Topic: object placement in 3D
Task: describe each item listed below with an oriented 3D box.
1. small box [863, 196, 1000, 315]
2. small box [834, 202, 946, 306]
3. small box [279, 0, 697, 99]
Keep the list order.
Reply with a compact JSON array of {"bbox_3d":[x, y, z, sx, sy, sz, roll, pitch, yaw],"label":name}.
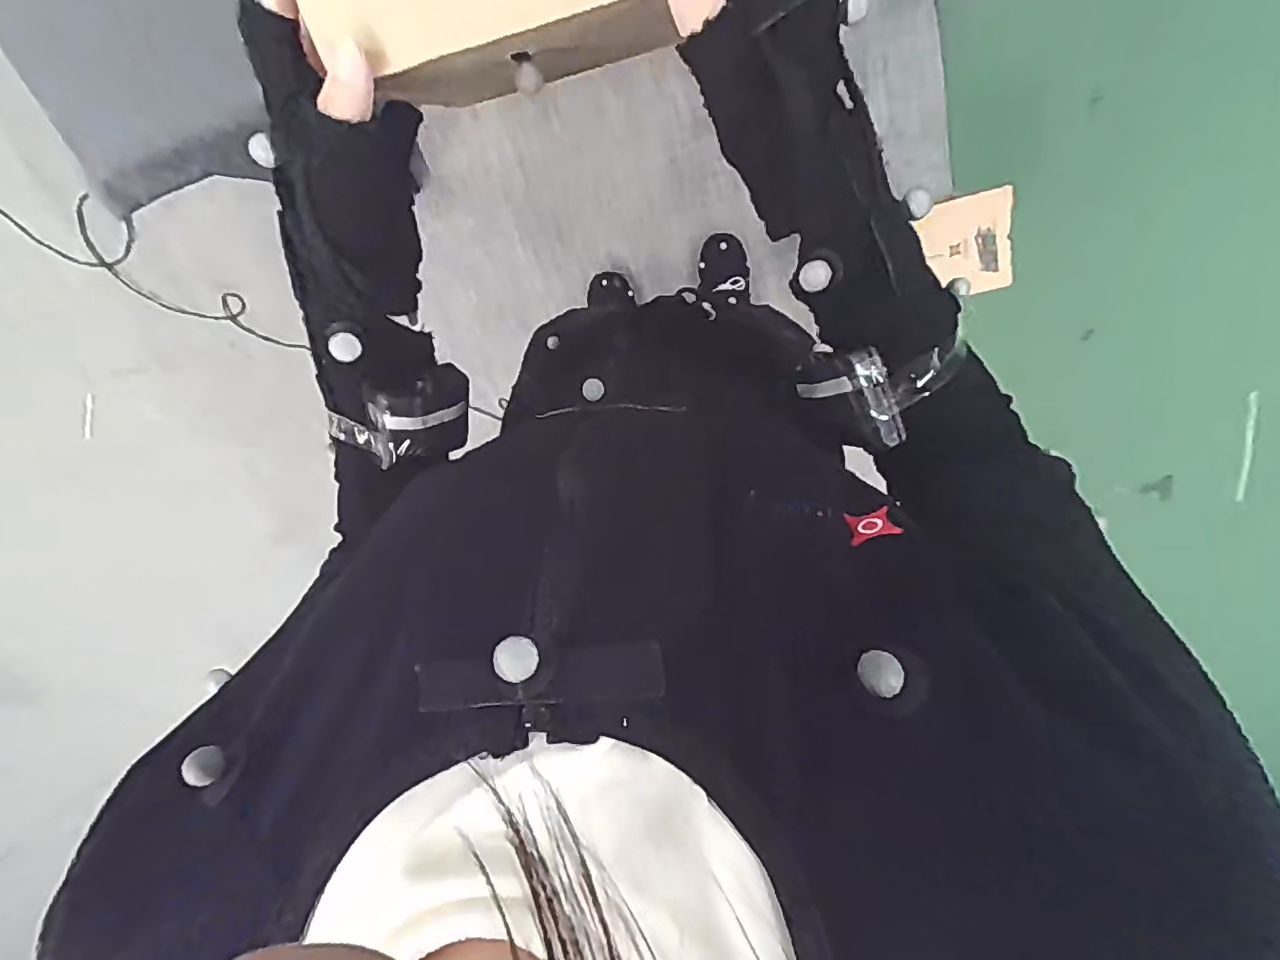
[{"bbox_3d":[0.543,-0.424,1.024,0.179,0.176,0.168,-12,112,7],"label":"small box"},{"bbox_3d":[0.542,-0.490,1.175,0.179,0.176,0.168,-13,112,8],"label":"small box"},{"bbox_3d":[-0.066,-0.291,0.243,0.179,0.176,0.168,-9,121,7],"label":"small box"}]
